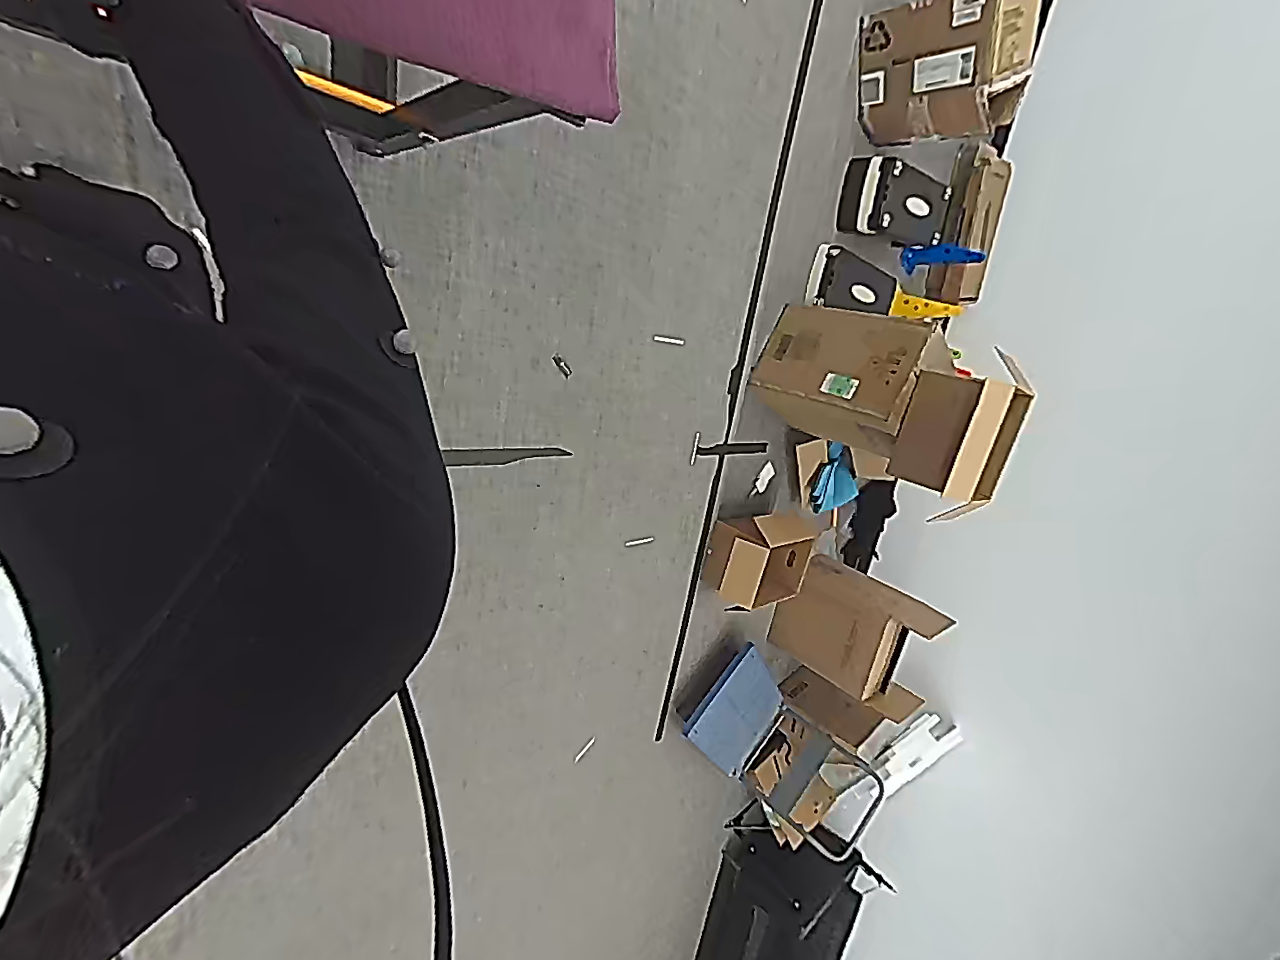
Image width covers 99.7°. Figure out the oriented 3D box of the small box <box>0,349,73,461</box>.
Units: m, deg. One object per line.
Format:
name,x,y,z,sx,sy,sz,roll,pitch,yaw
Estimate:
small box,-1.017,-0.118,0.833,0.179,0.176,0.168,-8,103,-49
